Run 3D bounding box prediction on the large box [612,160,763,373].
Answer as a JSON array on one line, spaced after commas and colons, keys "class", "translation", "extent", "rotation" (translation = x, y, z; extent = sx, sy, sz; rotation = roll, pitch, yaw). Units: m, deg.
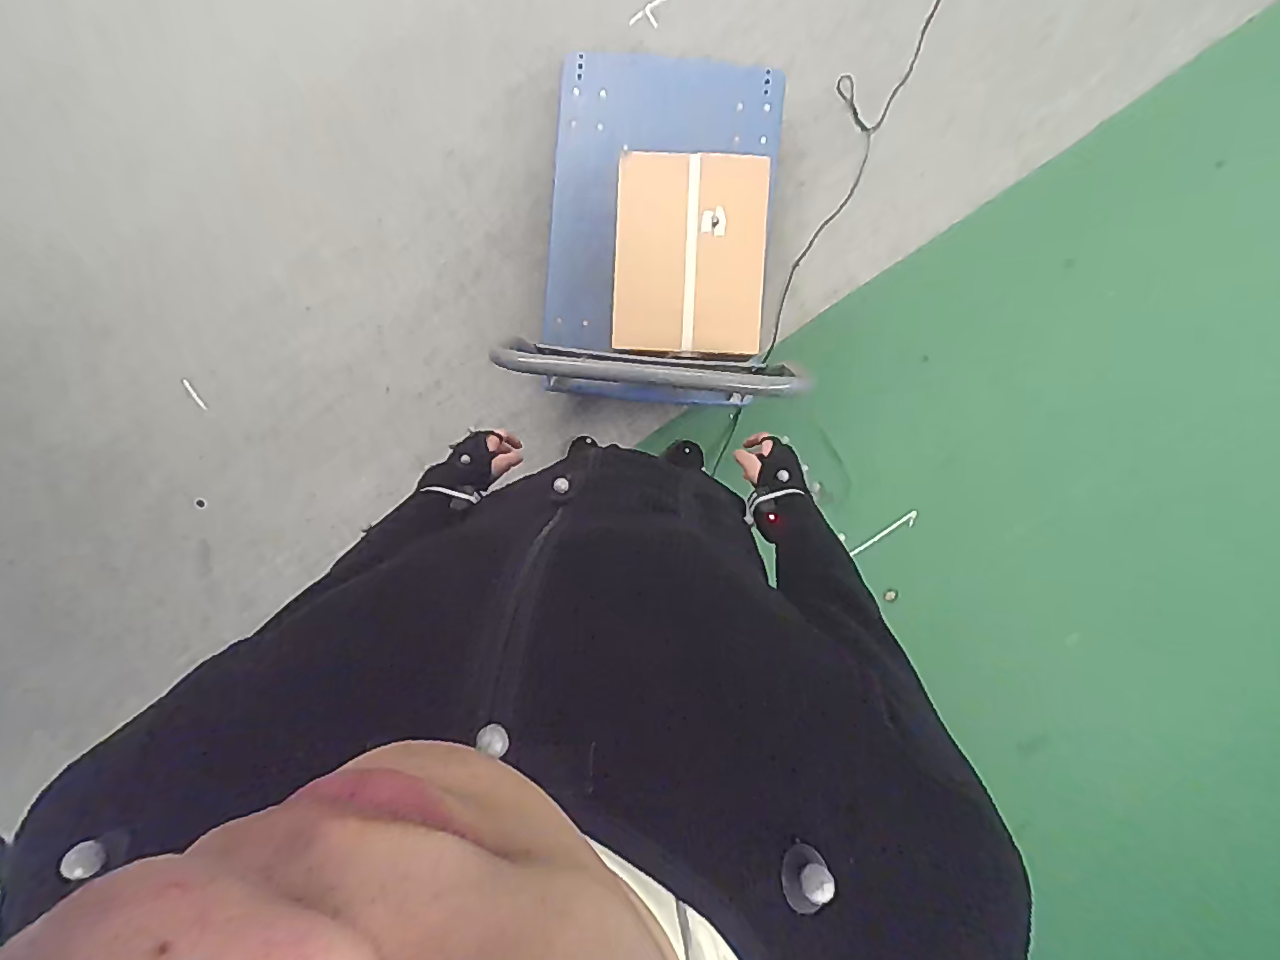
[{"class": "large box", "translation": [0.103, -0.479, 1.297], "extent": [0.320, 0.320, 0.408], "rotation": [3, 94, -1]}]
